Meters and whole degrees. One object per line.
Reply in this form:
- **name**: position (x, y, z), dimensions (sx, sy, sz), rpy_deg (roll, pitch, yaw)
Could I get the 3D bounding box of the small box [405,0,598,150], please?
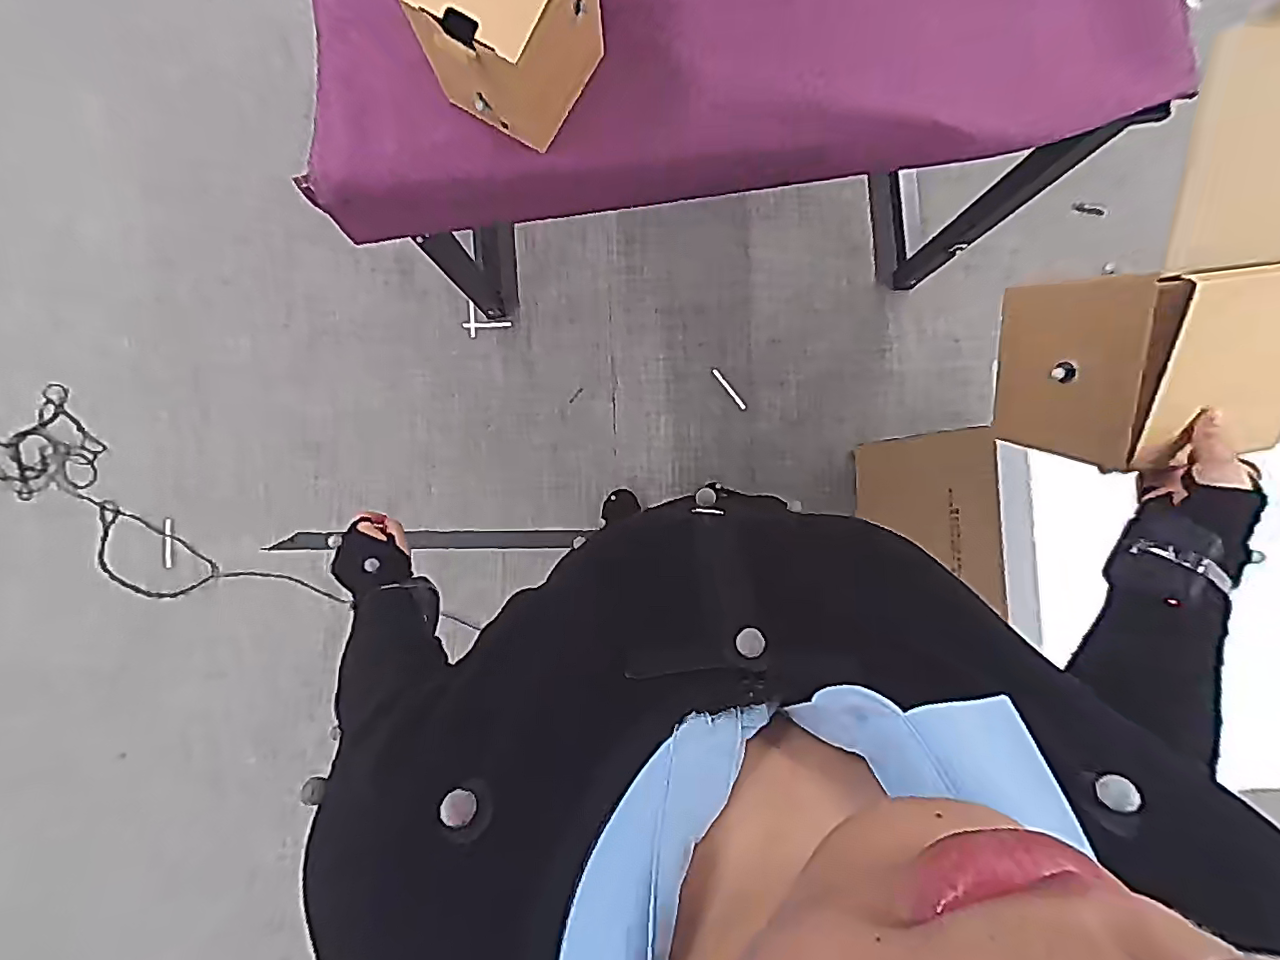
- **small box**: position (-0.165, -0.589, 0.705), dimensions (0.168, 0.176, 0.179), rpy_deg (31, 89, 2)
